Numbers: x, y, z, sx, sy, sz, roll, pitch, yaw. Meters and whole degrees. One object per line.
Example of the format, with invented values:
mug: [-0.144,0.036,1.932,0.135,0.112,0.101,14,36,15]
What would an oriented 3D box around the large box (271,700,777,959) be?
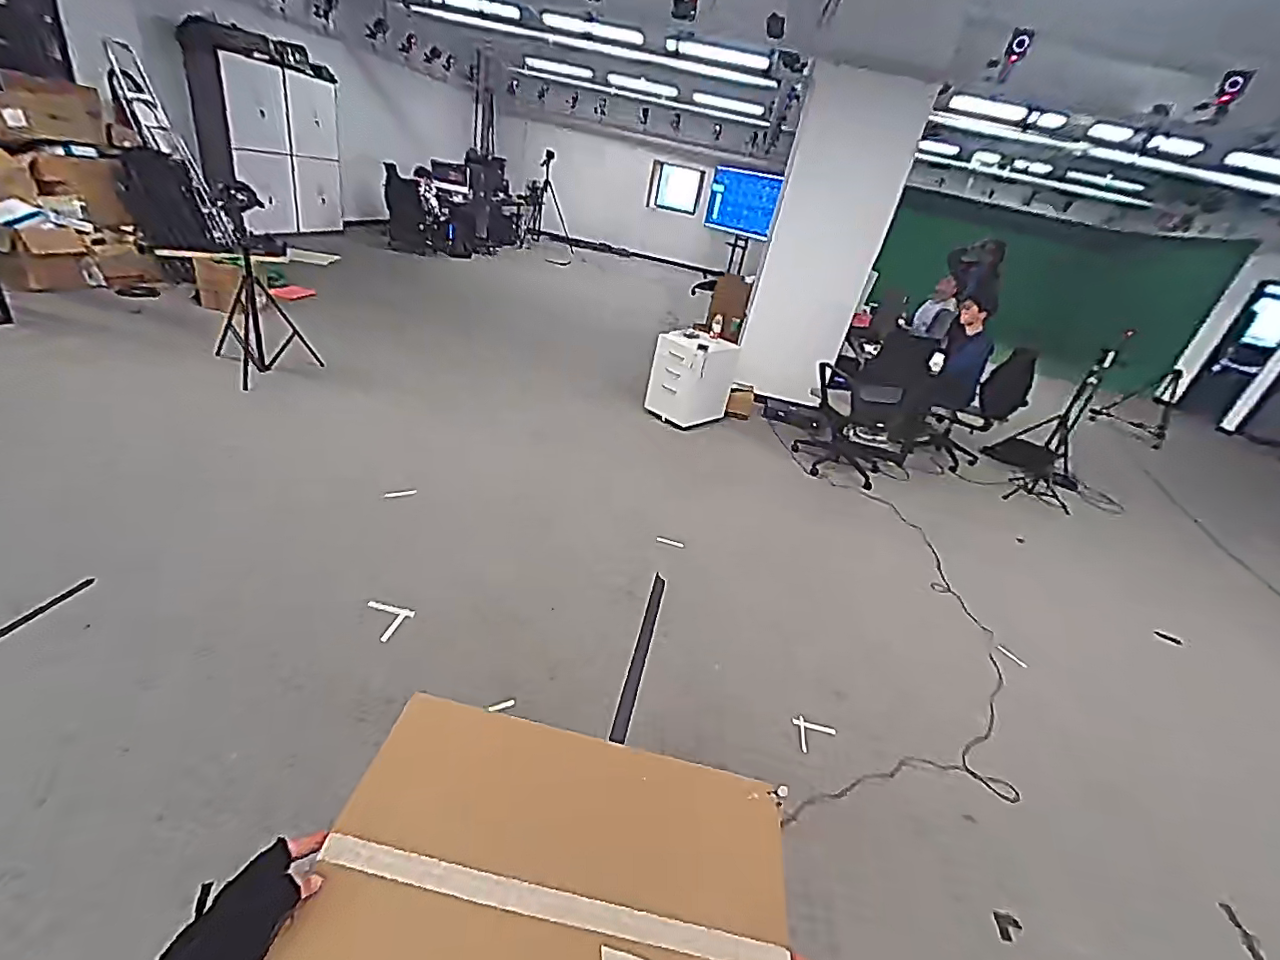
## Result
large box: [-0.106,0.487,0.545,0.408,0.320,0.320,15,32,0]
